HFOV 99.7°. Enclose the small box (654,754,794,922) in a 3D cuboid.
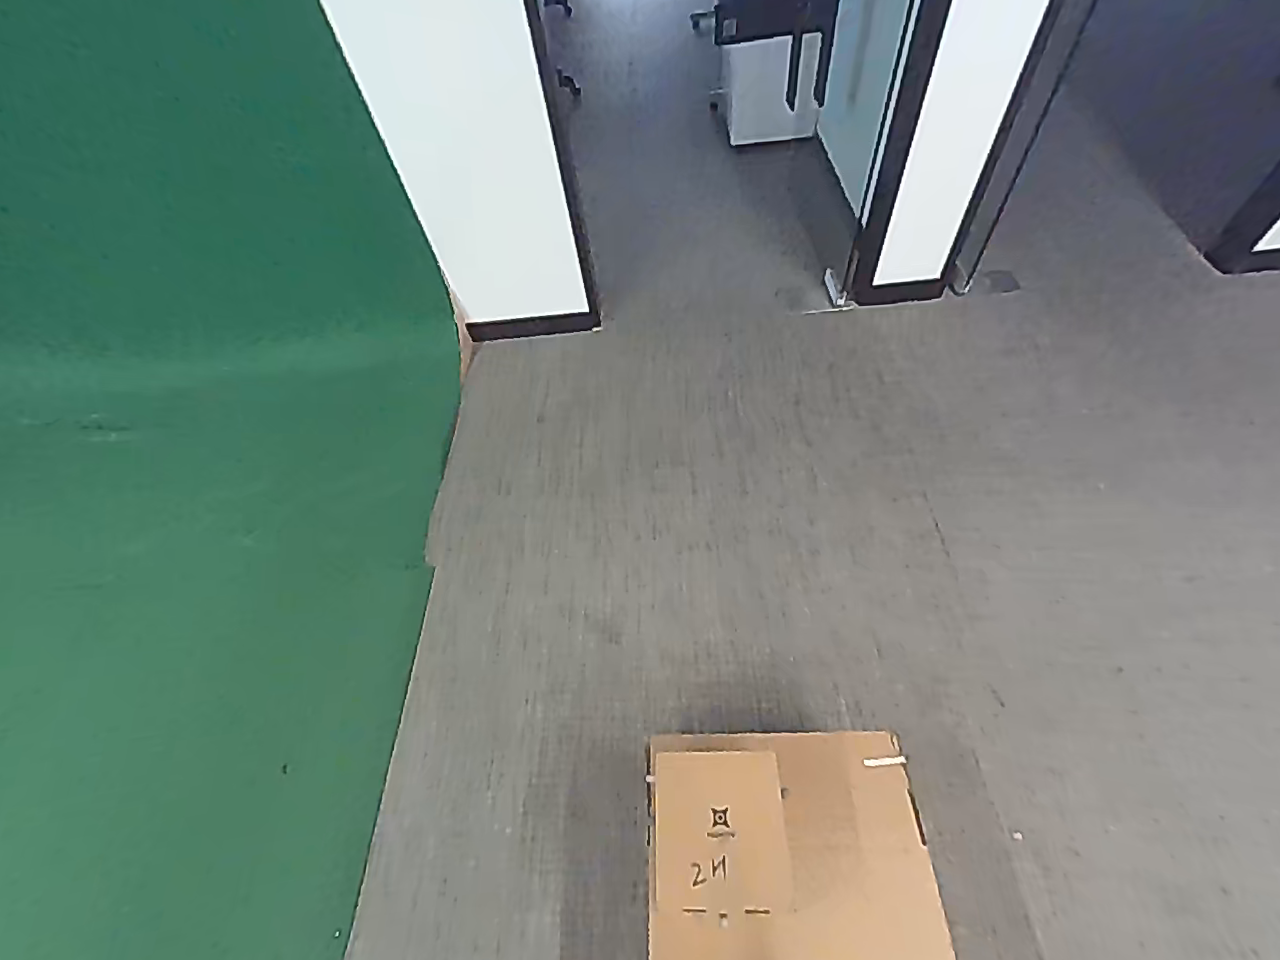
[{"bbox_3d":[0.108,0.495,0.746,0.168,0.176,0.179,-4,50,5],"label":"small box"}]
